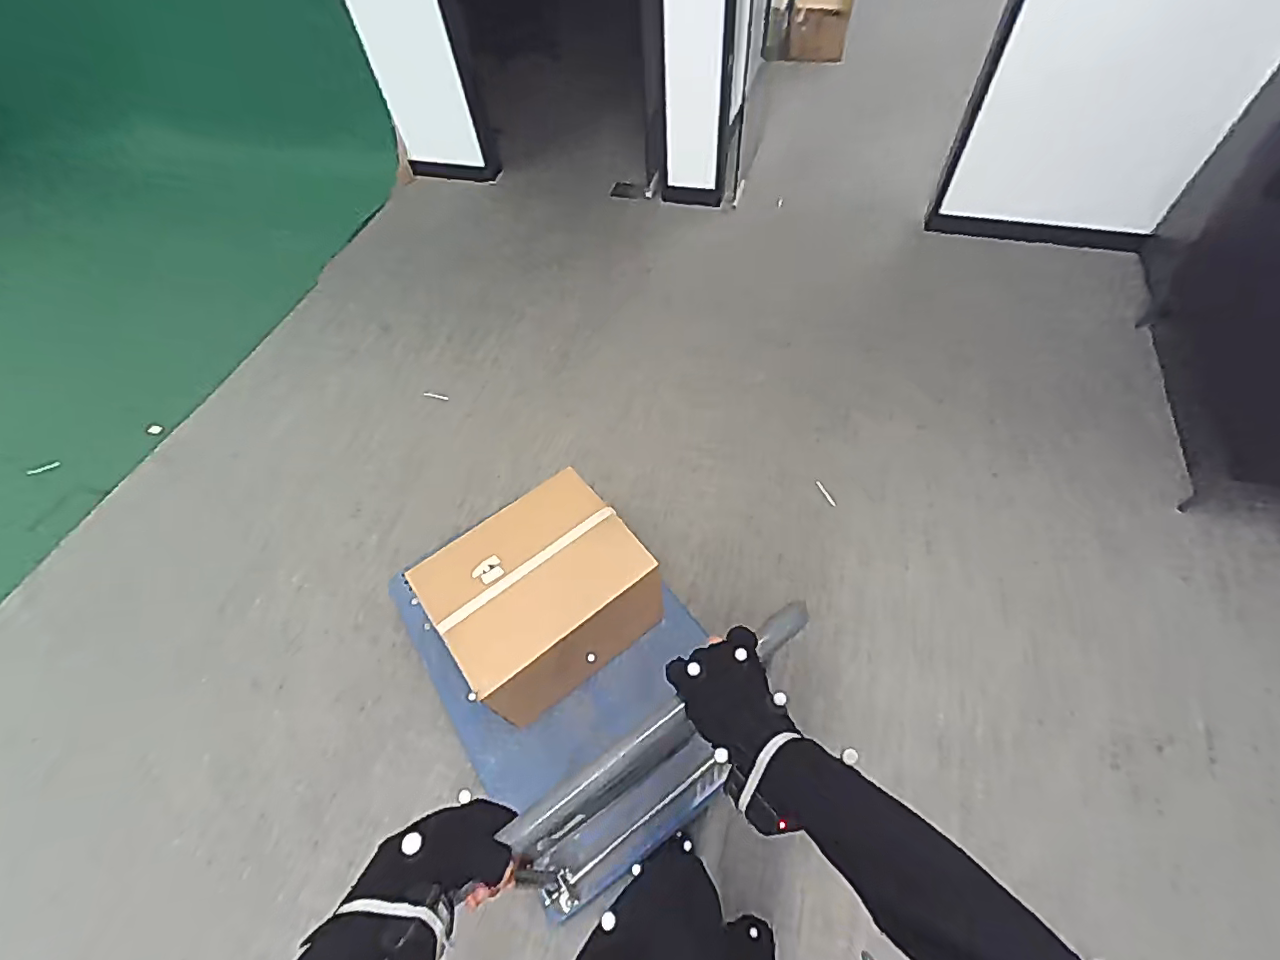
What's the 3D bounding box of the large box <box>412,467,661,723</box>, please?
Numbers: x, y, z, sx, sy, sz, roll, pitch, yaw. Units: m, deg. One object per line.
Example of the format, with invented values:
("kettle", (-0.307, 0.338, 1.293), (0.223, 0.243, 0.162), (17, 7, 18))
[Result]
("large box", (-0.199, 0.254, 1.191), (0.408, 0.320, 0.320), (-36, 61, -18))
